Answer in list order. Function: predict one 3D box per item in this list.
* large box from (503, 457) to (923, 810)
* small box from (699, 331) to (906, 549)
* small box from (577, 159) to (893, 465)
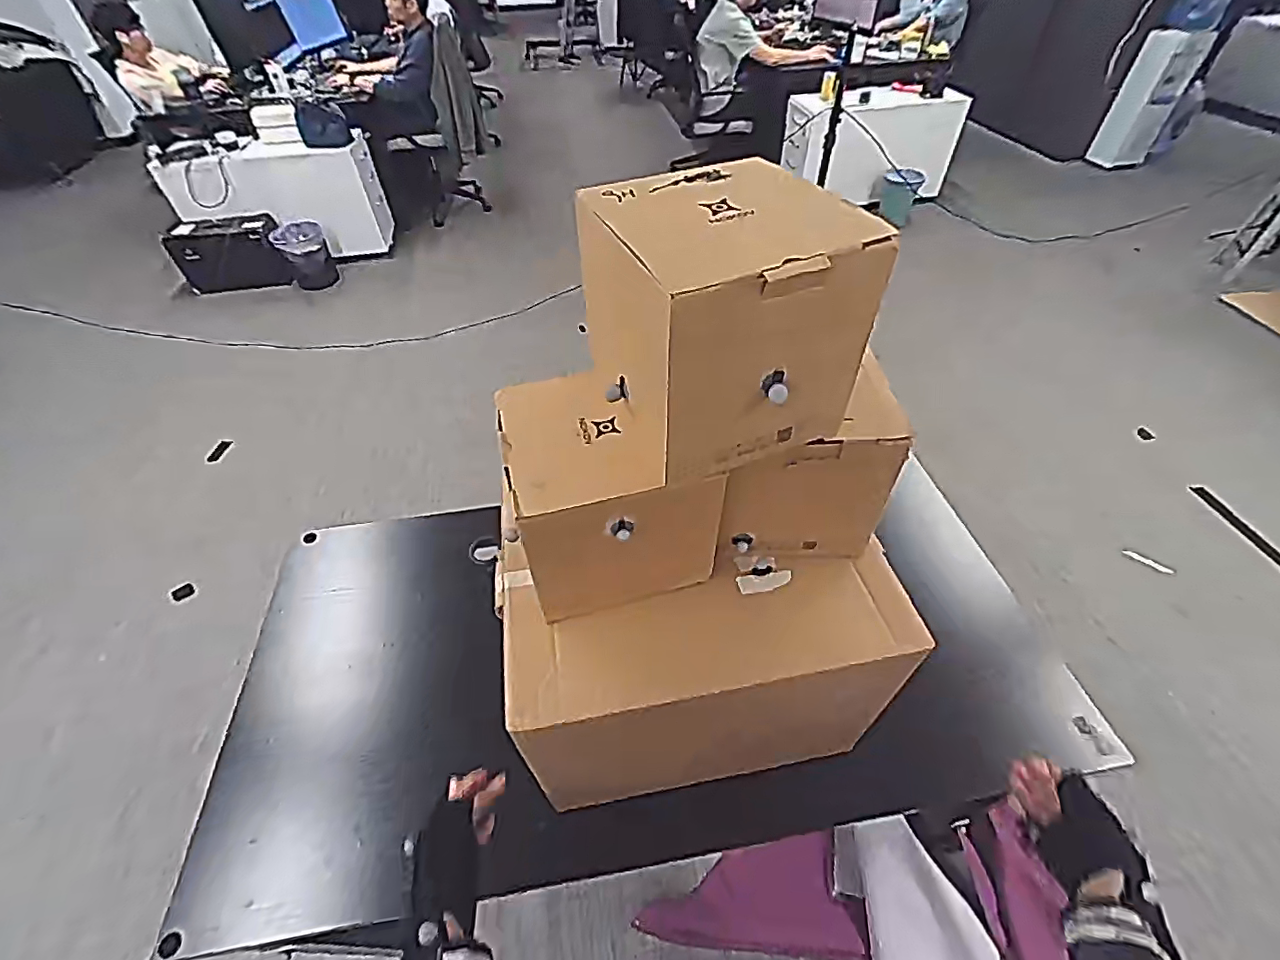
[{"bbox_3d":[0.055,0.180,0.706,0.408,0.320,0.320,-9,48,-8],"label":"large box"},{"bbox_3d":[0.151,-0.040,0.575,0.168,0.176,0.179,-1,46,2],"label":"small box"},{"bbox_3d":[0.060,-0.132,0.441,0.168,0.176,0.179,-18,50,-15],"label":"small box"}]
